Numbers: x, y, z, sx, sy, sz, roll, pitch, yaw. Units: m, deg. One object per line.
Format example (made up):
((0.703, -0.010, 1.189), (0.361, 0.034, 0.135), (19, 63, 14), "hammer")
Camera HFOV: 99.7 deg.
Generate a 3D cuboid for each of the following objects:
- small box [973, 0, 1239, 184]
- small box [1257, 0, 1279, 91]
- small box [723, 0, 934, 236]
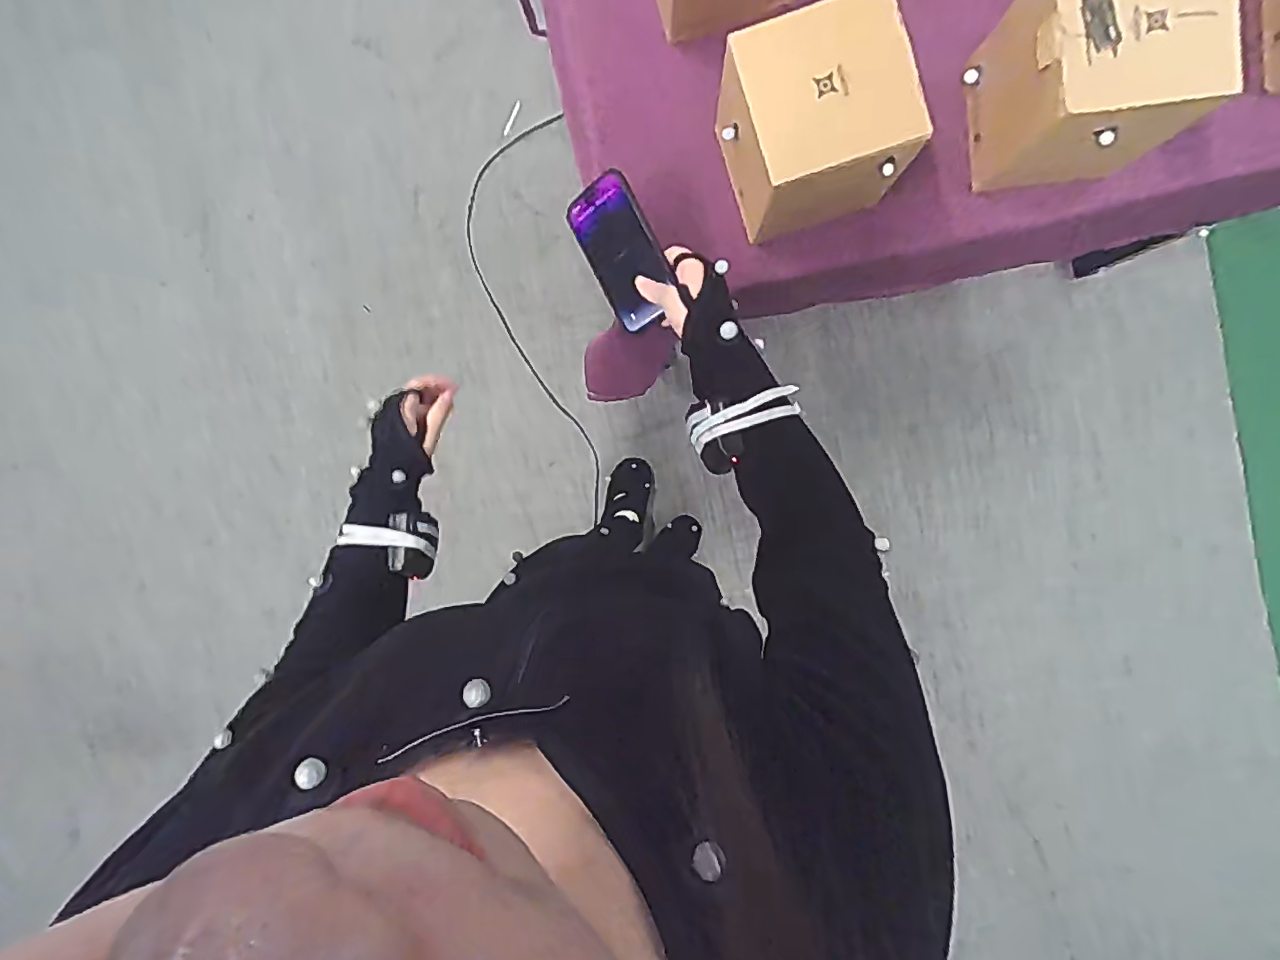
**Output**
((0.514, -0.468, 0.626), (0.179, 0.176, 0.168), (-6, 94, 2), "small box")
((0.869, -0.574, 0.601), (0.179, 0.176, 0.168), (-4, 93, 3), "small box")
((0.205, -0.420, 0.644), (0.179, 0.176, 0.168), (-18, 92, 3), "small box")
